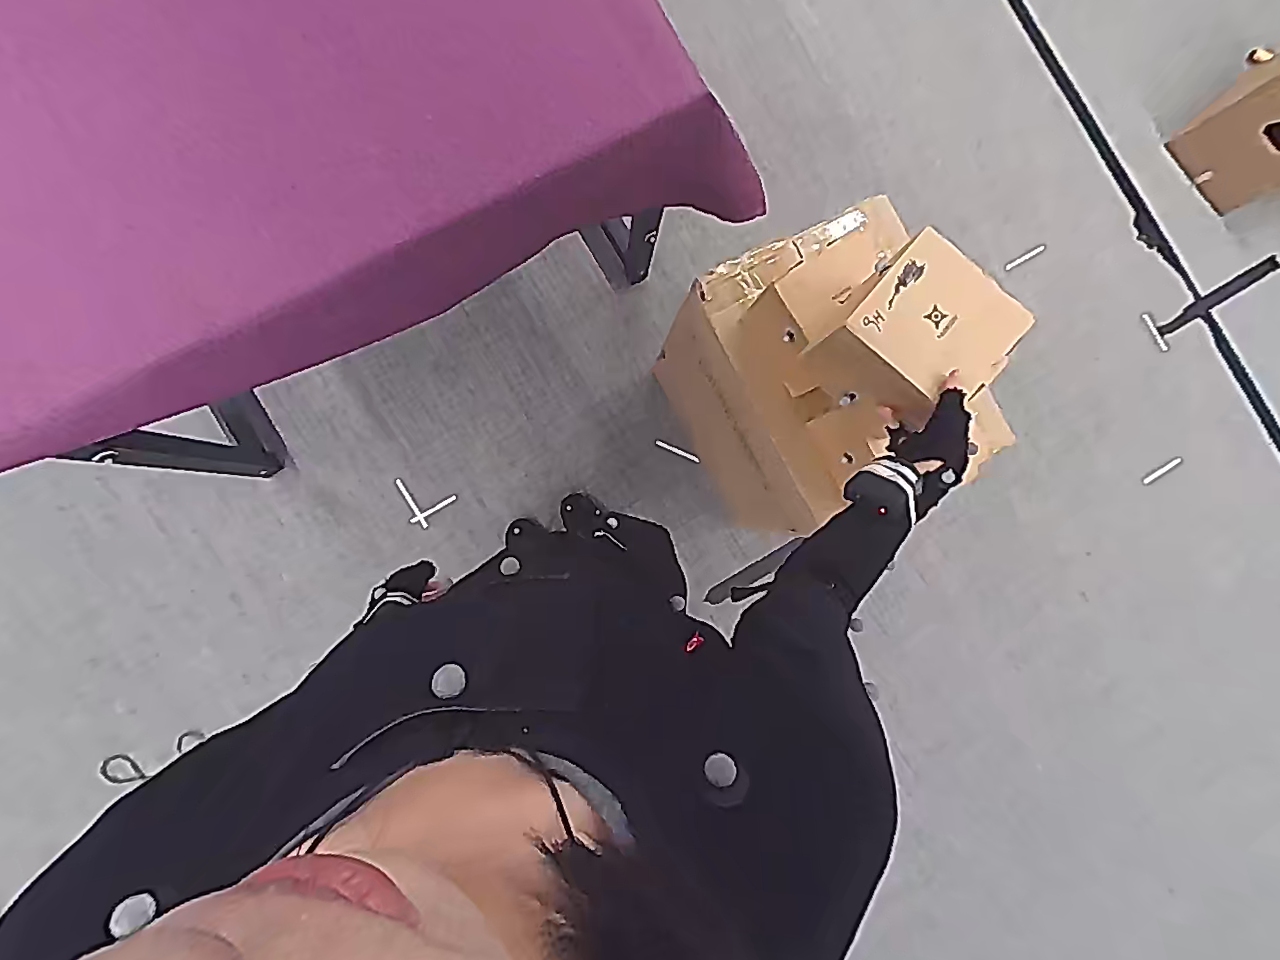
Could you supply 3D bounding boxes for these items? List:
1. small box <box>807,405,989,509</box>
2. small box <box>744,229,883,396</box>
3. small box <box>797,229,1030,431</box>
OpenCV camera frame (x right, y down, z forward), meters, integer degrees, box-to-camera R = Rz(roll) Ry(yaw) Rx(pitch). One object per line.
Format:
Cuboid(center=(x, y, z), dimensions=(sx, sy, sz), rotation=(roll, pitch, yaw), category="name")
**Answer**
Cuboid(center=(0.404, -0.064, 0.878), dimensions=(0.168, 0.176, 0.179), rotation=(-28, 87, -6), category="small box")
Cuboid(center=(0.296, -0.260, 0.882), dimensions=(0.168, 0.176, 0.179), rotation=(-33, 91, -5), category="small box")
Cuboid(center=(0.346, -0.180, 0.717), dimensions=(0.179, 0.176, 0.168), rotation=(41, 84, -1), category="small box")
